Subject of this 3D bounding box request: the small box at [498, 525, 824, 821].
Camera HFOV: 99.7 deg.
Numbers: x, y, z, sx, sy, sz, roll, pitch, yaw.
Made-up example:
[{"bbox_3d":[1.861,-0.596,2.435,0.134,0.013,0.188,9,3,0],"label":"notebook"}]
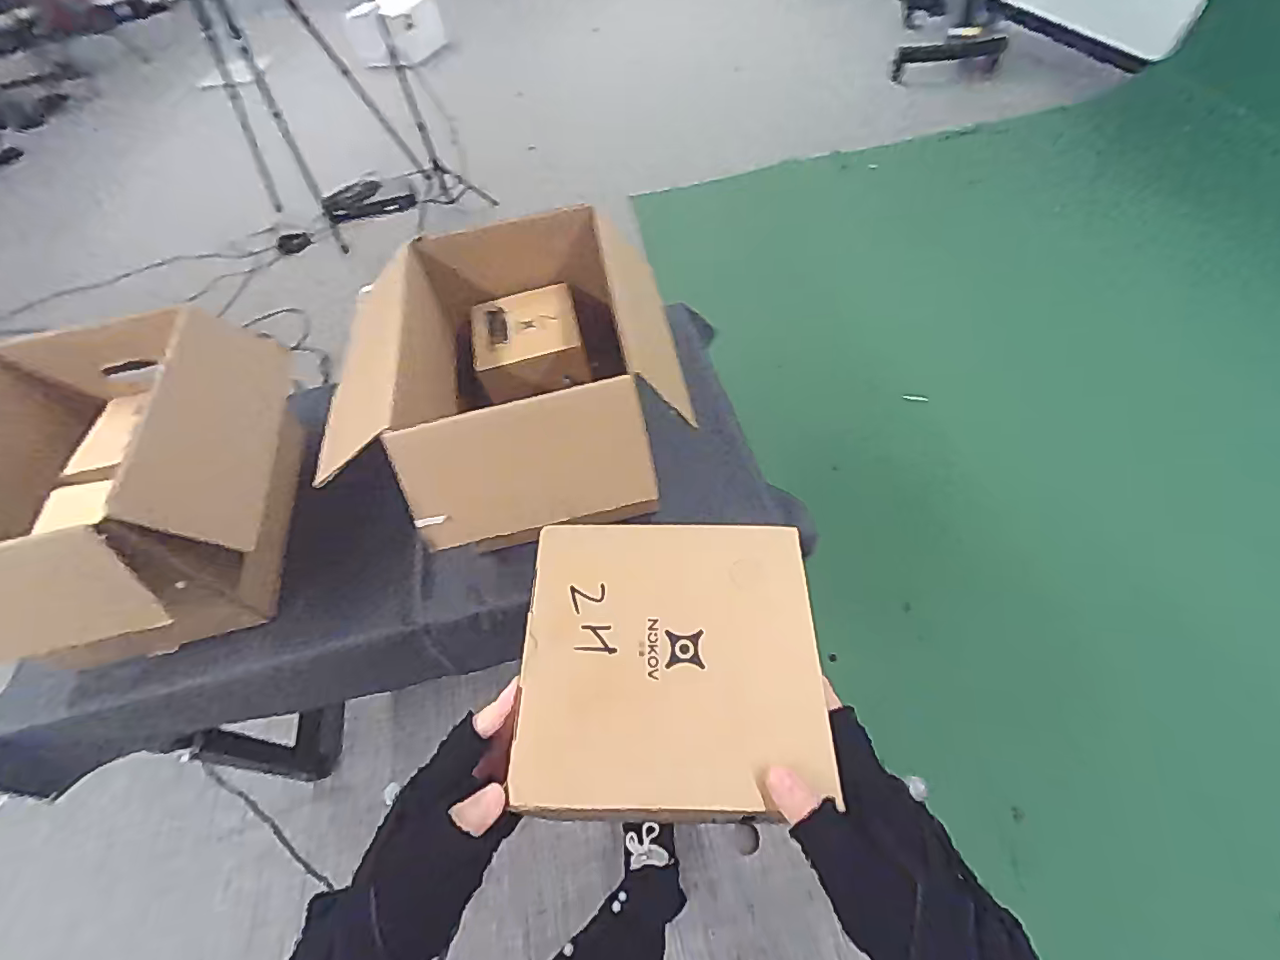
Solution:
[{"bbox_3d":[0.012,0.146,0.395,0.179,0.176,0.168,1,55,1],"label":"small box"}]
